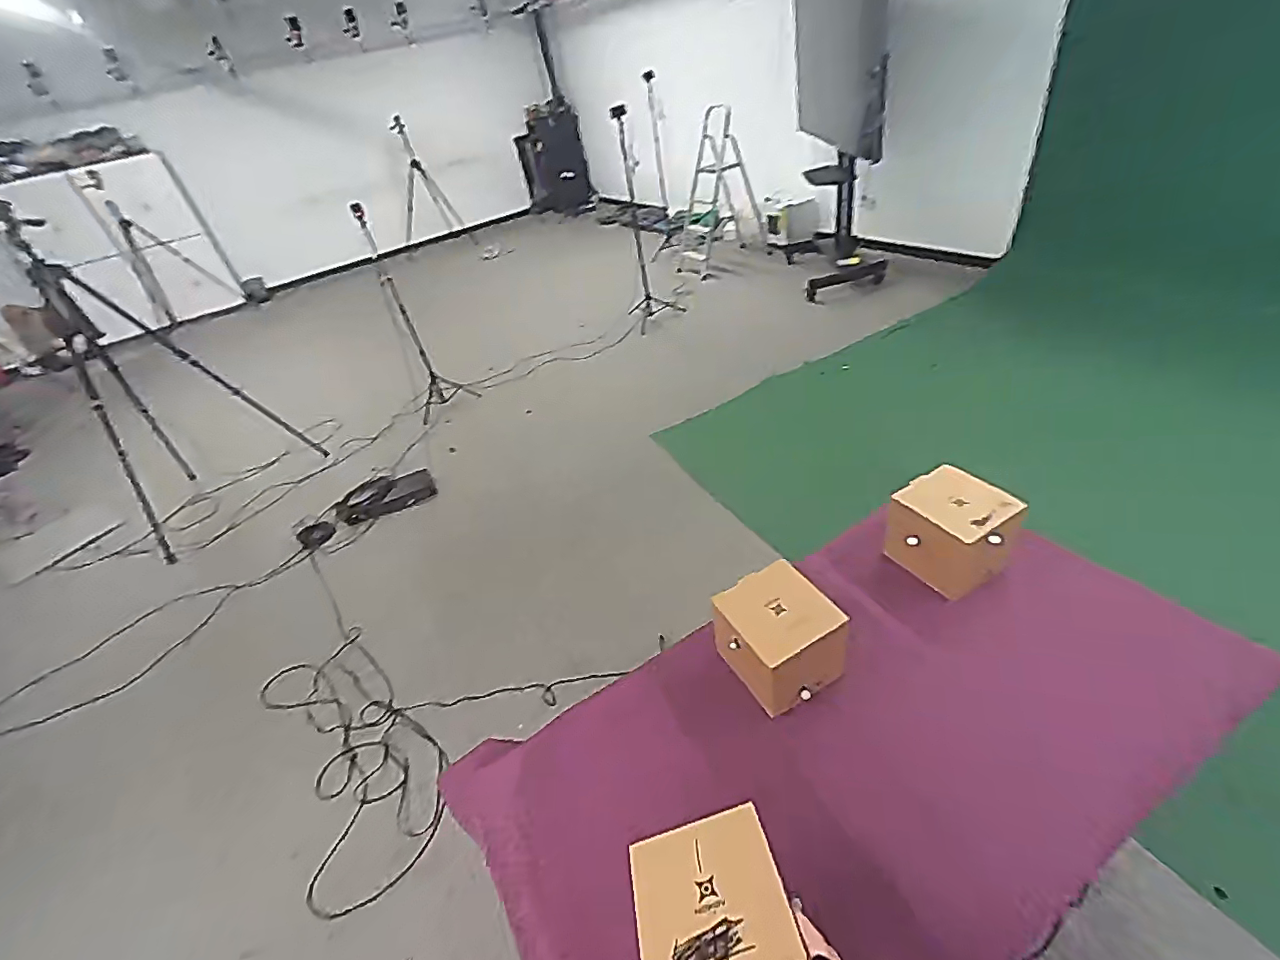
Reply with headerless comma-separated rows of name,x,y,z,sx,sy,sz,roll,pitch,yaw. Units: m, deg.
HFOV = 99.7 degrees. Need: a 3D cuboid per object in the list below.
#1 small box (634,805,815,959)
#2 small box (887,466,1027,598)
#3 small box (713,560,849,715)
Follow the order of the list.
small box,0.103,0.526,0.615,0.168,0.176,0.179,-20,21,1
small box,0.632,0.105,1.102,0.168,0.176,0.179,-27,39,-16
small box,0.251,0.285,0.984,0.168,0.176,0.179,-25,39,-15
